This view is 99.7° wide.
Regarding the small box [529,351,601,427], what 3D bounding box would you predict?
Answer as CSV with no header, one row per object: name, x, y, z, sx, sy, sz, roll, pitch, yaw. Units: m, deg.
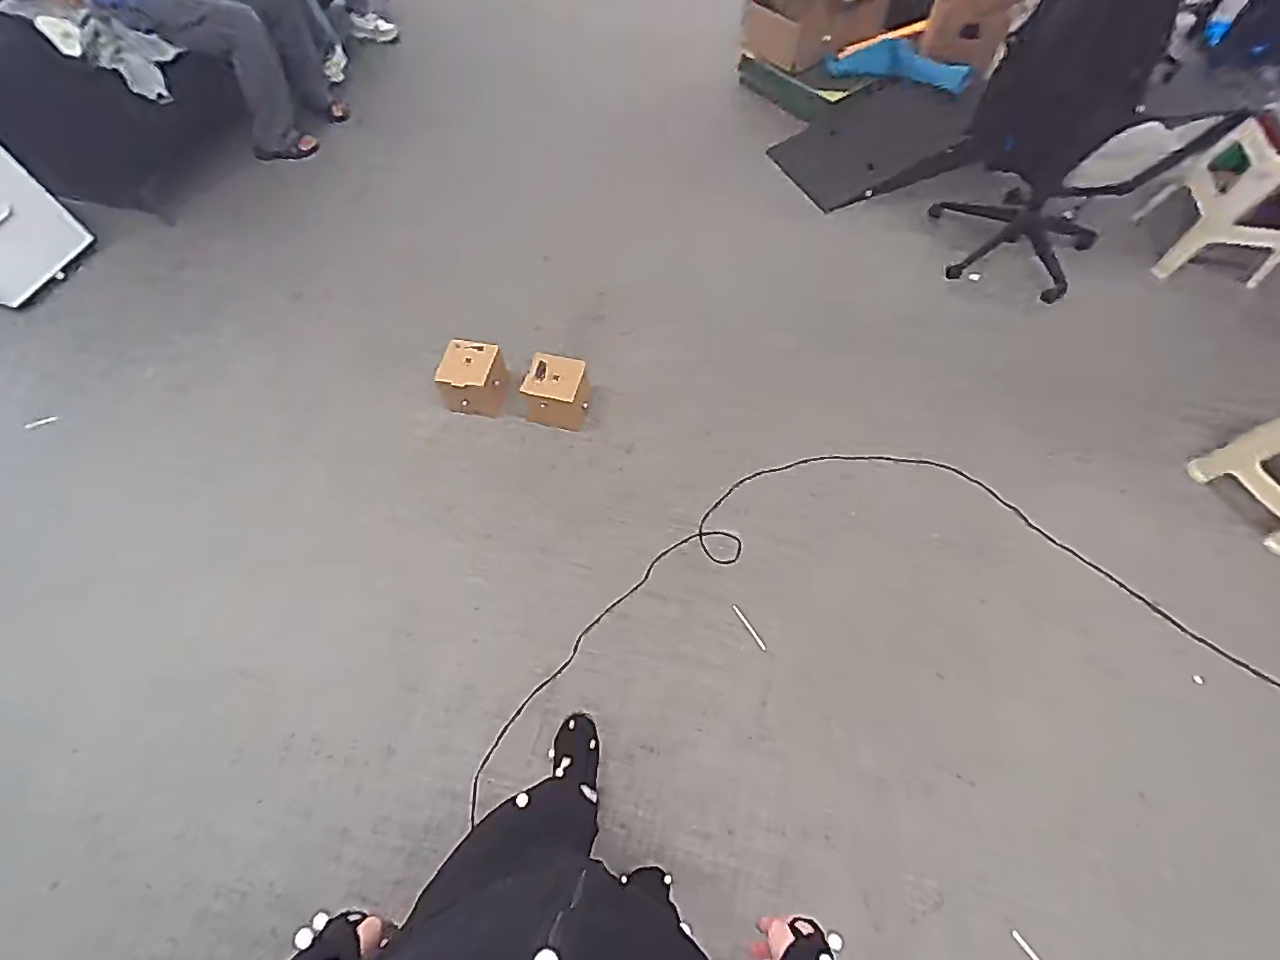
small box,-0.241,-0.296,1.785,0.179,0.176,0.168,15,65,10

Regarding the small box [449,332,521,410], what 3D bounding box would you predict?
small box,-0.518,-0.363,1.822,0.179,0.176,0.168,-18,61,-7
